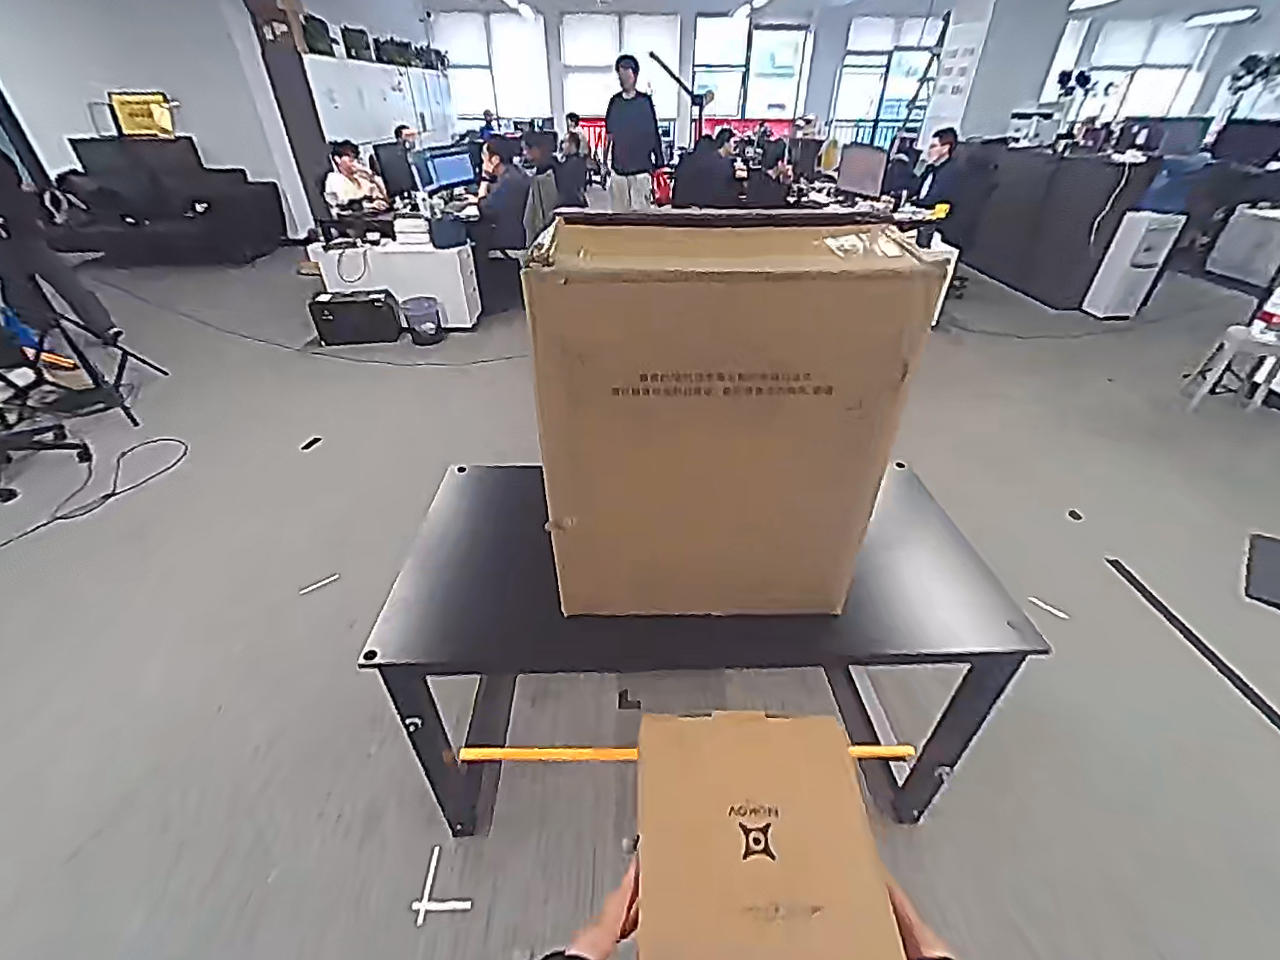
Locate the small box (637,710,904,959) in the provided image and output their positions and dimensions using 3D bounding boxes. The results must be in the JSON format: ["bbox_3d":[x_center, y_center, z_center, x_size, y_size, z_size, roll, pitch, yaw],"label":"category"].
[{"bbox_3d":[0.082,0.311,0.439,0.168,0.176,0.179,0,40,0],"label":"small box"}]
